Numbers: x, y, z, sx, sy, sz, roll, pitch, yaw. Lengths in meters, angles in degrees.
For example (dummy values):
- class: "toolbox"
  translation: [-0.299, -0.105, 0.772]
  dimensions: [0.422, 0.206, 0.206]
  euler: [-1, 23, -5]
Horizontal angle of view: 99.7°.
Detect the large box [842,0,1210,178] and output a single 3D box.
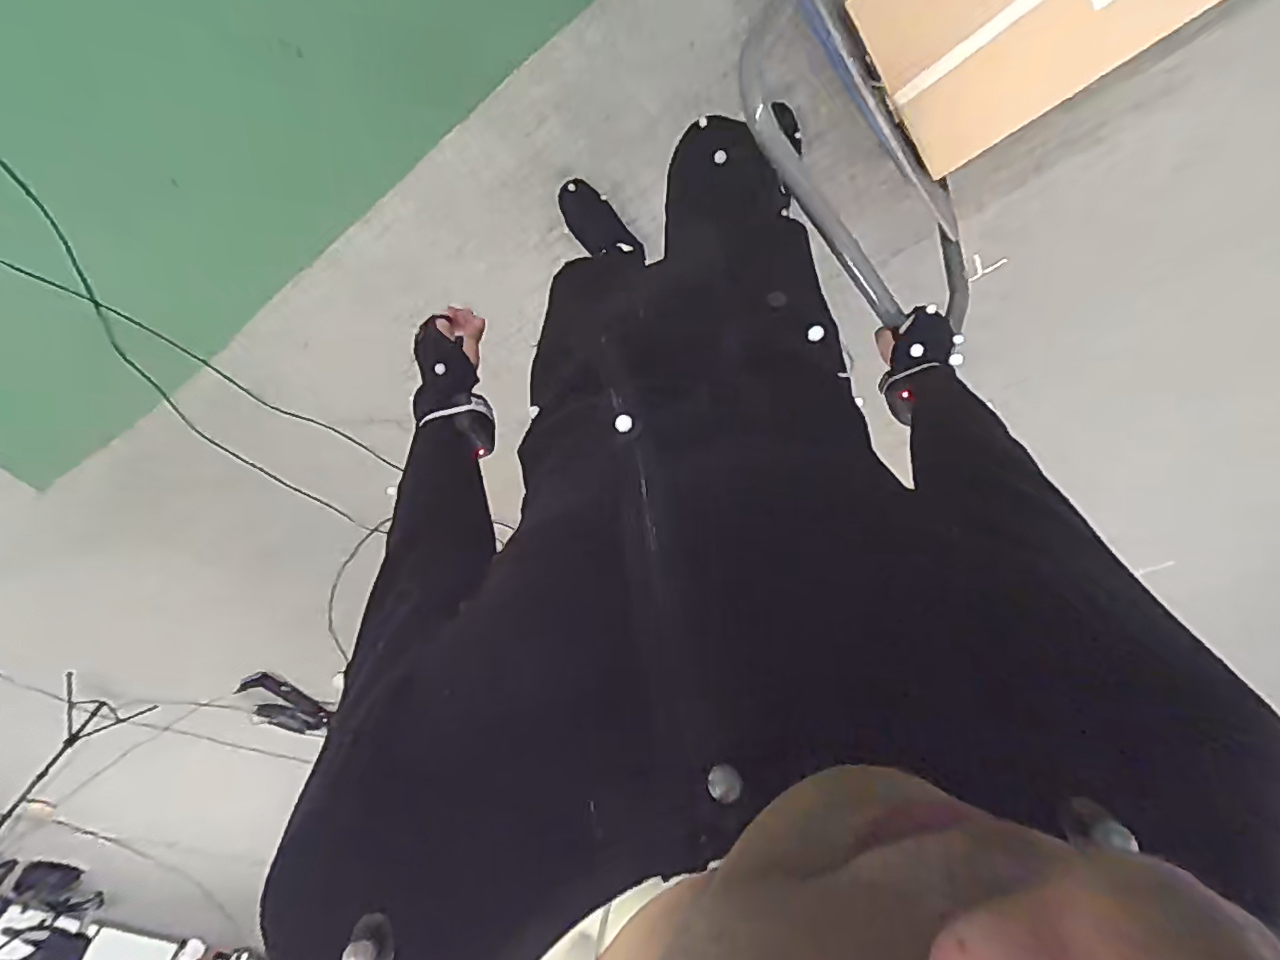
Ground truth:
- class: "large box"
  translation: [0.564, -0.769, 0.817]
  dimensions: [0.408, 0.320, 0.320]
  euler: [-25, 126, 38]
